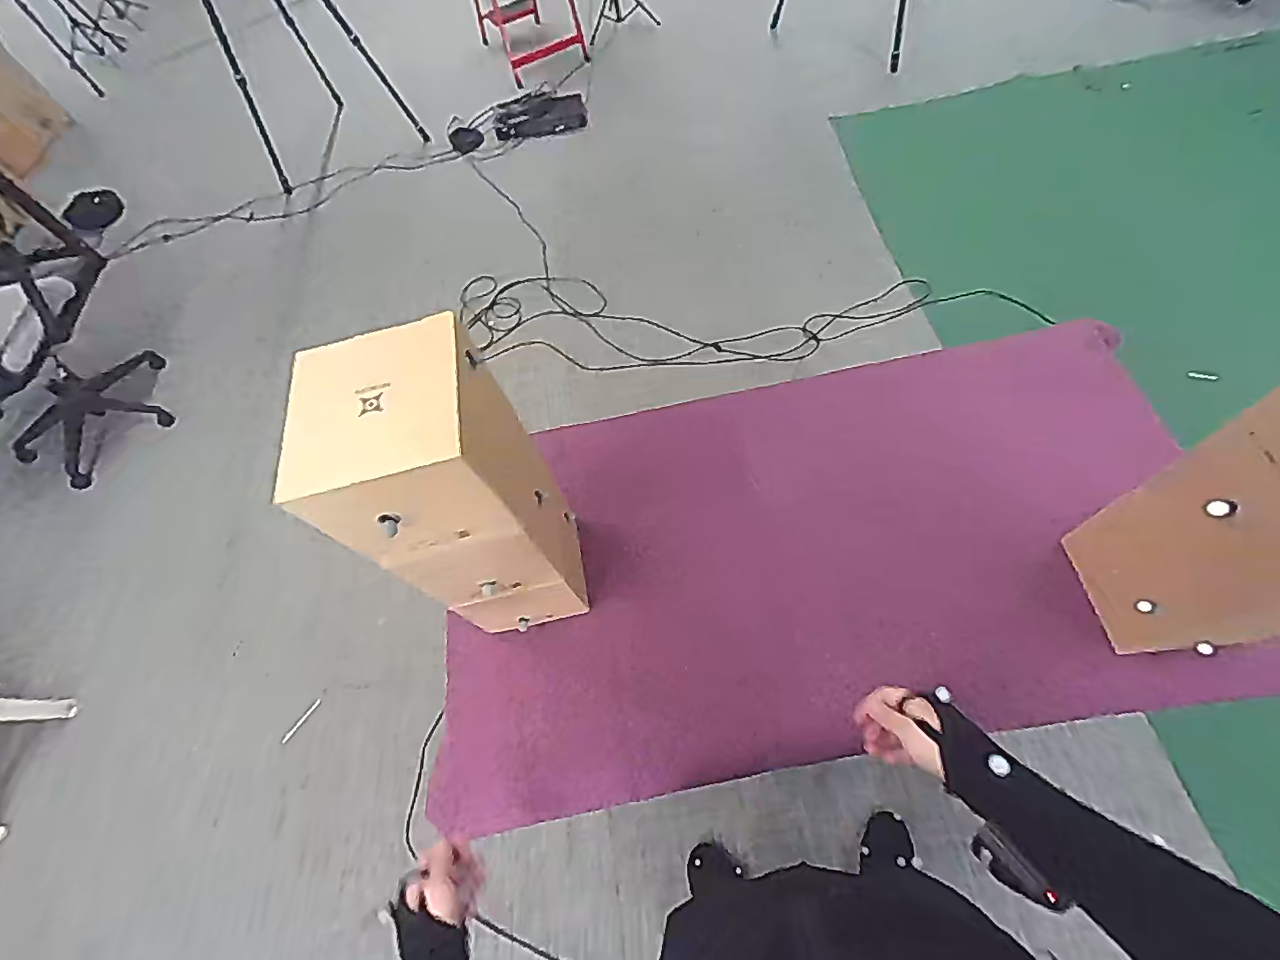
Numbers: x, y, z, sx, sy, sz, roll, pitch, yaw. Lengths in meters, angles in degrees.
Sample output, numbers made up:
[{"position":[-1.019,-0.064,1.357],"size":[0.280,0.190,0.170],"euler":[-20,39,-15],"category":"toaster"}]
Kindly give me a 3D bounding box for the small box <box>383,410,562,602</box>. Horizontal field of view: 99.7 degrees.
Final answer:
[{"position":[-0.209,0.040,0.705],"size":[0.168,0.176,0.179],"euler":[-14,61,2],"category":"small box"}]

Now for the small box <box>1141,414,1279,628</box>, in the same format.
[{"position":[0.692,0.041,0.561],"size":[0.168,0.176,0.179],"euler":[-8,60,6],"category":"small box"}]

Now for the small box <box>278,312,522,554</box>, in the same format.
[{"position":[-0.232,-0.036,0.563],"size":[0.168,0.176,0.179],"euler":[-14,60,2],"category":"small box"}]

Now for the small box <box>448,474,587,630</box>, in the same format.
[{"position":[-0.187,0.118,0.847],"size":[0.168,0.176,0.179],"euler":[-13,62,2],"category":"small box"}]
